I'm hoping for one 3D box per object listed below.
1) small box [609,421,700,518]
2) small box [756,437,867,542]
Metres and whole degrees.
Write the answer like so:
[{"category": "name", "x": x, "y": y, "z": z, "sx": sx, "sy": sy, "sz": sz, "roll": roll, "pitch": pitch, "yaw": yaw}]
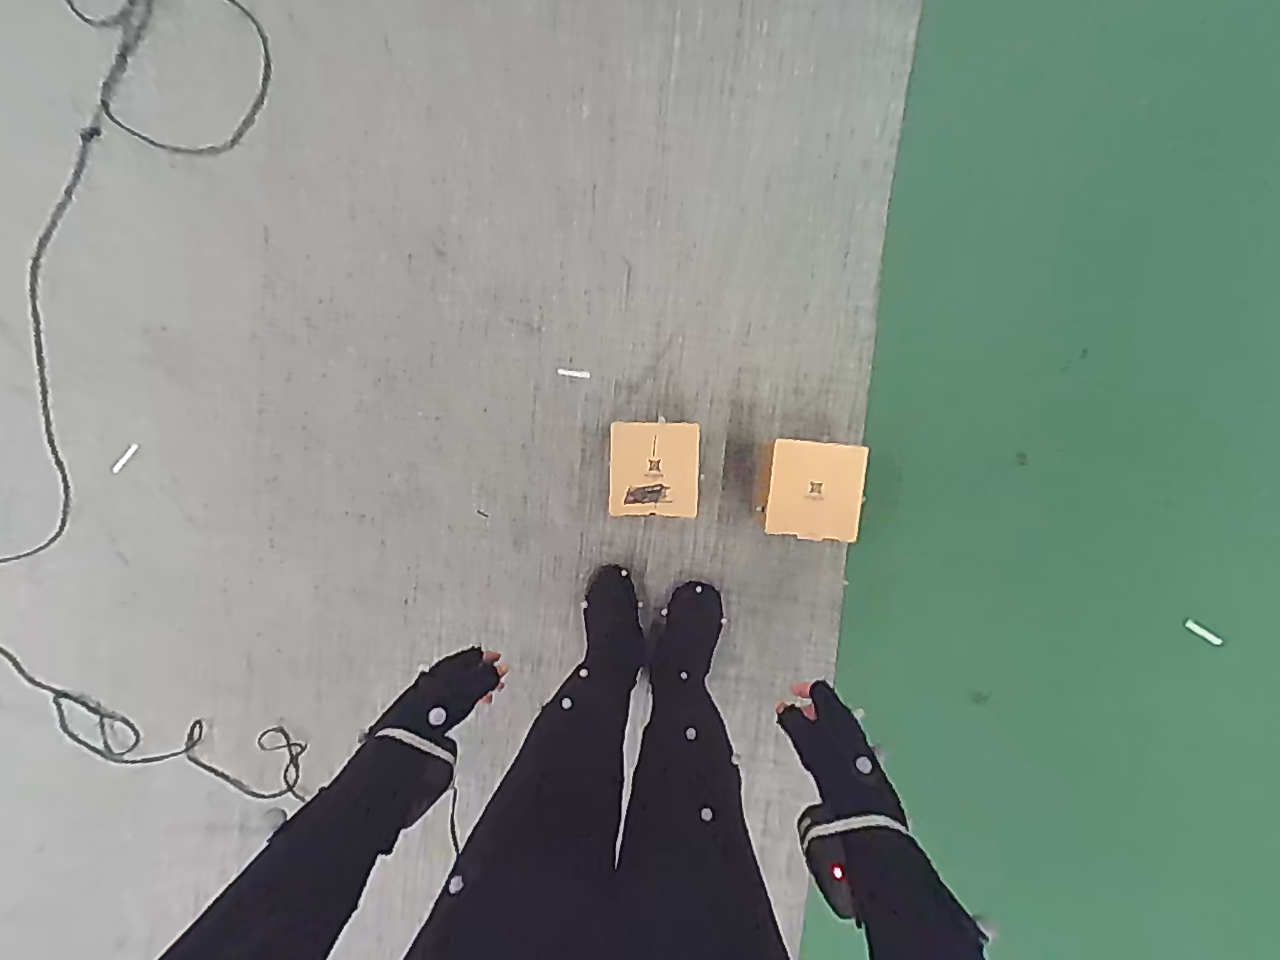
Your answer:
[{"category": "small box", "x": 0.033, "y": -0.023, "z": 1.075, "sx": 0.168, "sy": 0.176, "sz": 0.179, "roll": 2, "pitch": 93, "yaw": 5}, {"category": "small box", "x": 0.323, "y": 0.014, "z": 1.051, "sx": 0.168, "sy": 0.176, "sz": 0.179, "roll": 6, "pitch": 94, "yaw": 6}]
